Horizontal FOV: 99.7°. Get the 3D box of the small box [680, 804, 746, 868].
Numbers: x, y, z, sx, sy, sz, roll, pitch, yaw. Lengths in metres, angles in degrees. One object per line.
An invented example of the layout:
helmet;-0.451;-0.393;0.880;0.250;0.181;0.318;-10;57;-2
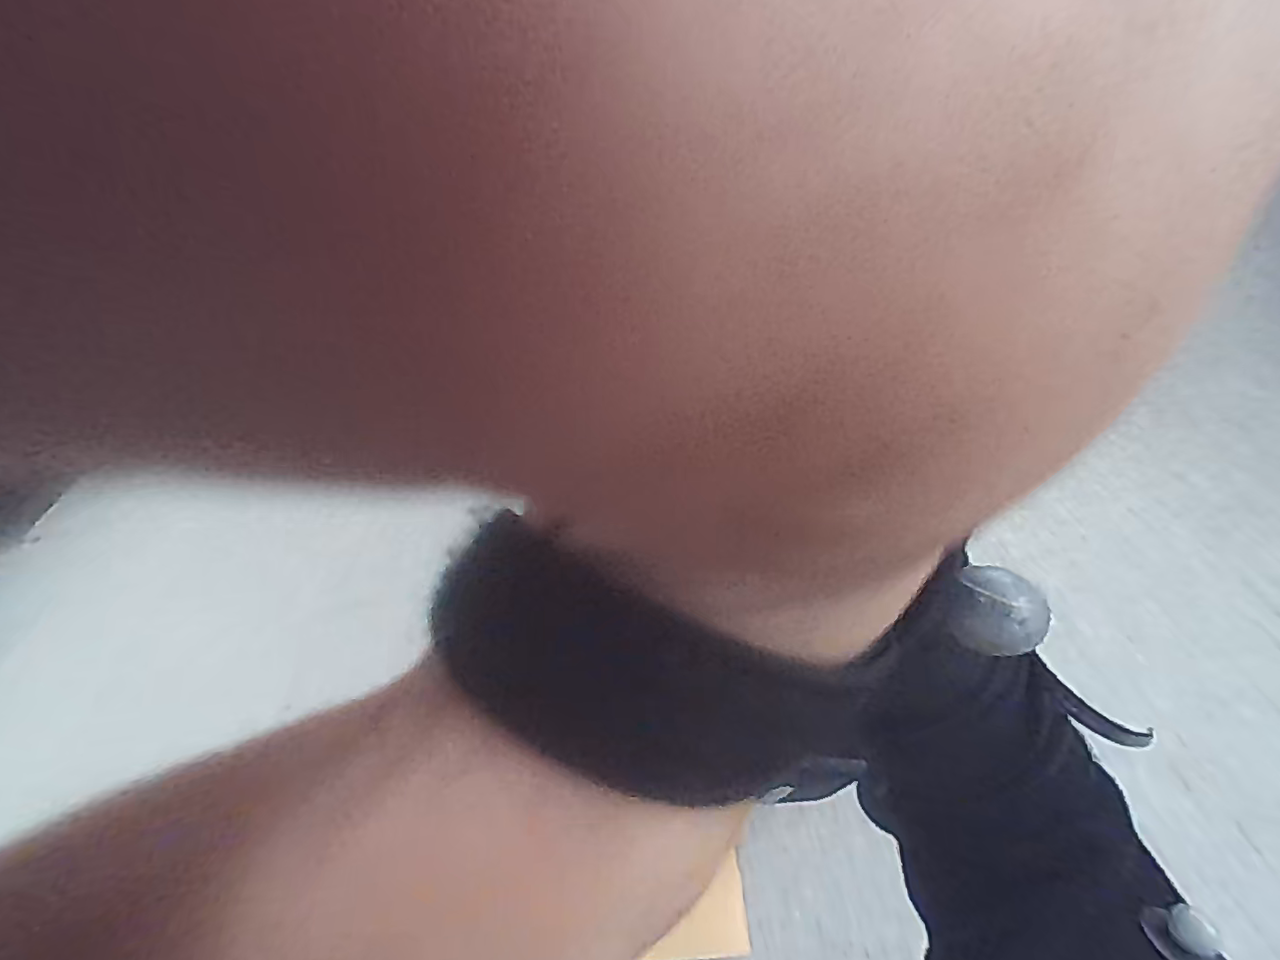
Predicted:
small box;0.154;0.836;1.368;0.168;0.176;0.179;-23;43;-9
